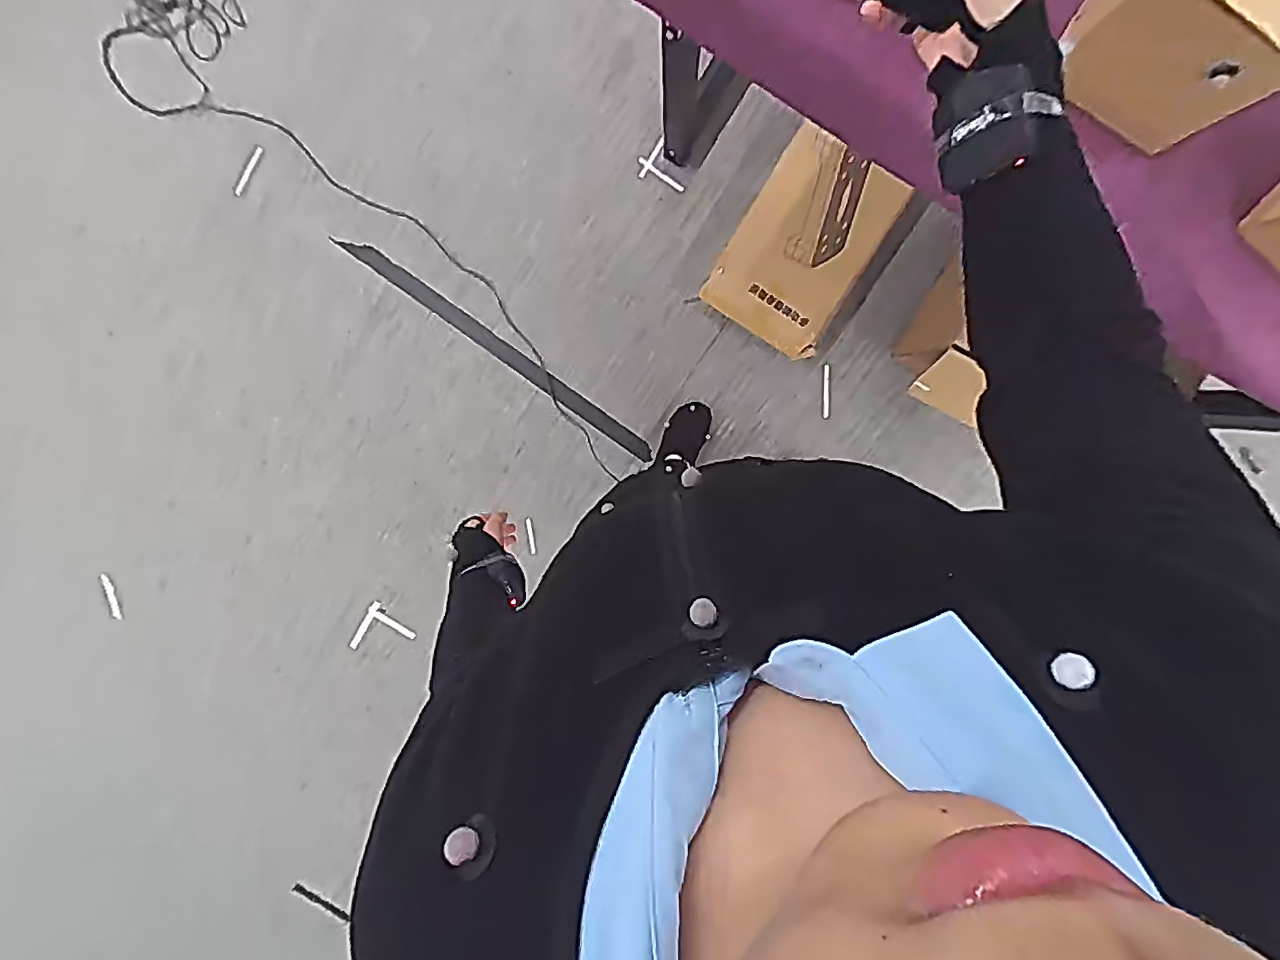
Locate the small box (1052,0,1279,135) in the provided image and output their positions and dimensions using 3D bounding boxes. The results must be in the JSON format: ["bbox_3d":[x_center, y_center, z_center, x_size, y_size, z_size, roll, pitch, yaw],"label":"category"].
[{"bbox_3d":[0.593,-0.498,0.554,0.179,0.176,0.168,32,97,-2],"label":"small box"}]

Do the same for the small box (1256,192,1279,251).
[{"bbox_3d":[0.849,-0.309,0.572,0.179,0.176,0.168,39,99,-4],"label":"small box"}]
